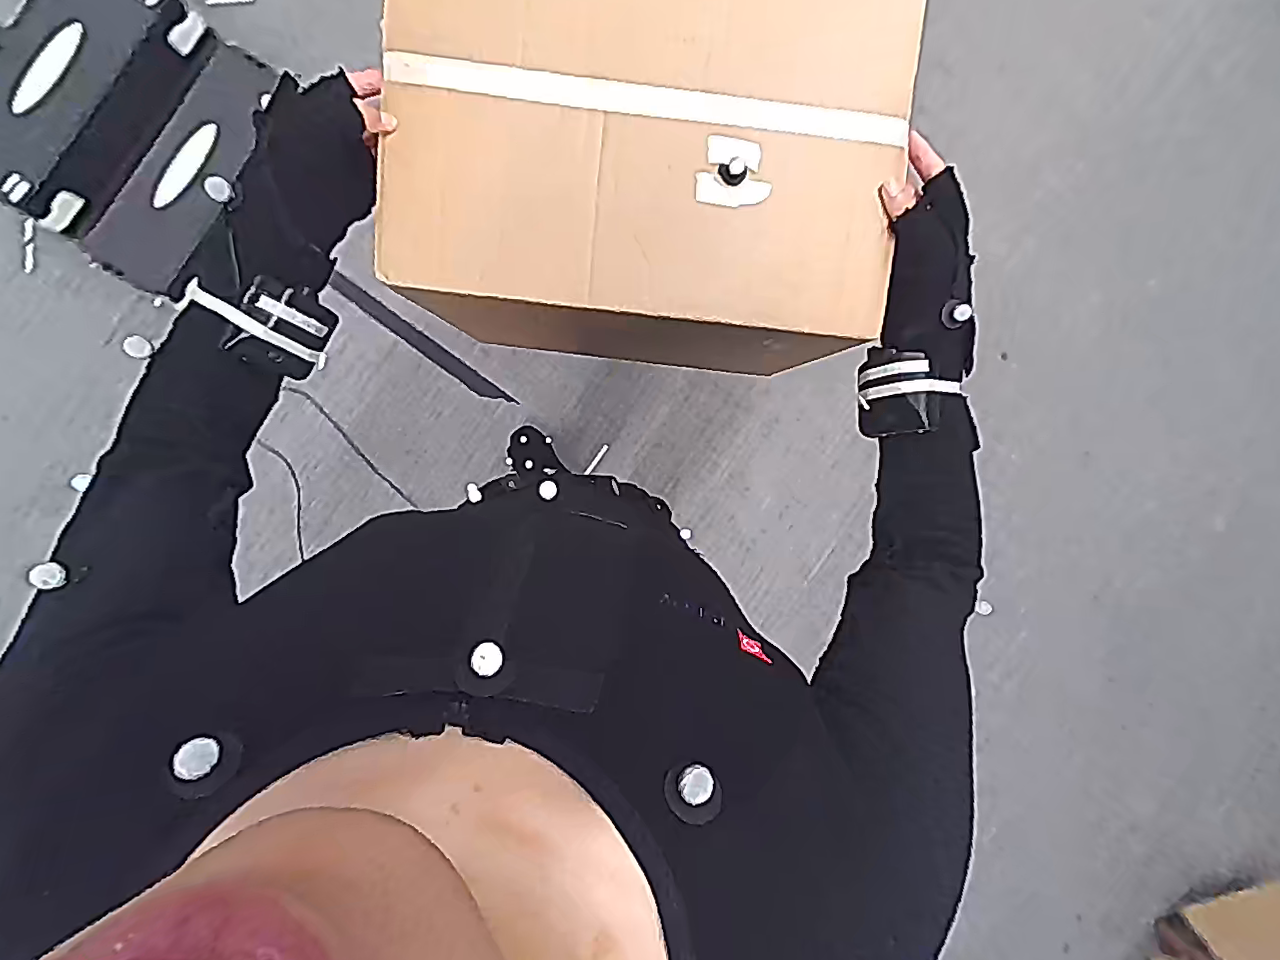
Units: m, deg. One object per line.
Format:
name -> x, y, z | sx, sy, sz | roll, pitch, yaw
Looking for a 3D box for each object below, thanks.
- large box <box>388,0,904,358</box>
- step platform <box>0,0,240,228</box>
large box -> -0.004, -0.315, 0.574 | 0.408, 0.320, 0.320 | 4, 96, -4
step platform -> -1.371, -1.017, 1.379 | 0.286, 0.204, 0.684 | 33, 89, -1
